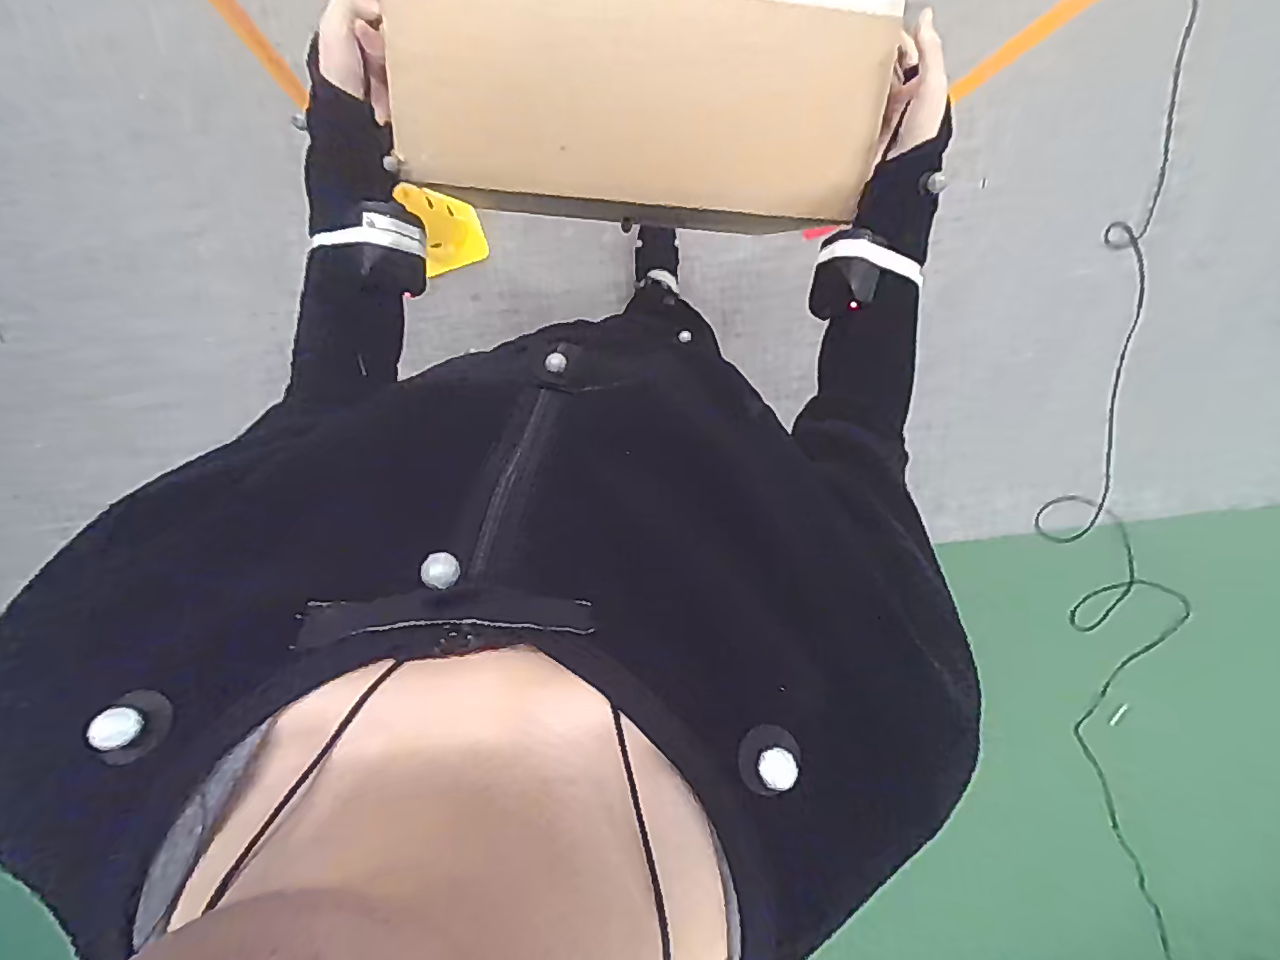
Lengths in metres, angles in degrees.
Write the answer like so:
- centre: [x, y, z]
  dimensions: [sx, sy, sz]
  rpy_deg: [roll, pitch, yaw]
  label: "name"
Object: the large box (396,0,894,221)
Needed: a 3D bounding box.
- centre: [0.002, -0.451, 0.558]
  dimensions: [0.408, 0.320, 0.320]
  rpy_deg: [2, 111, -5]
  label: "large box"
